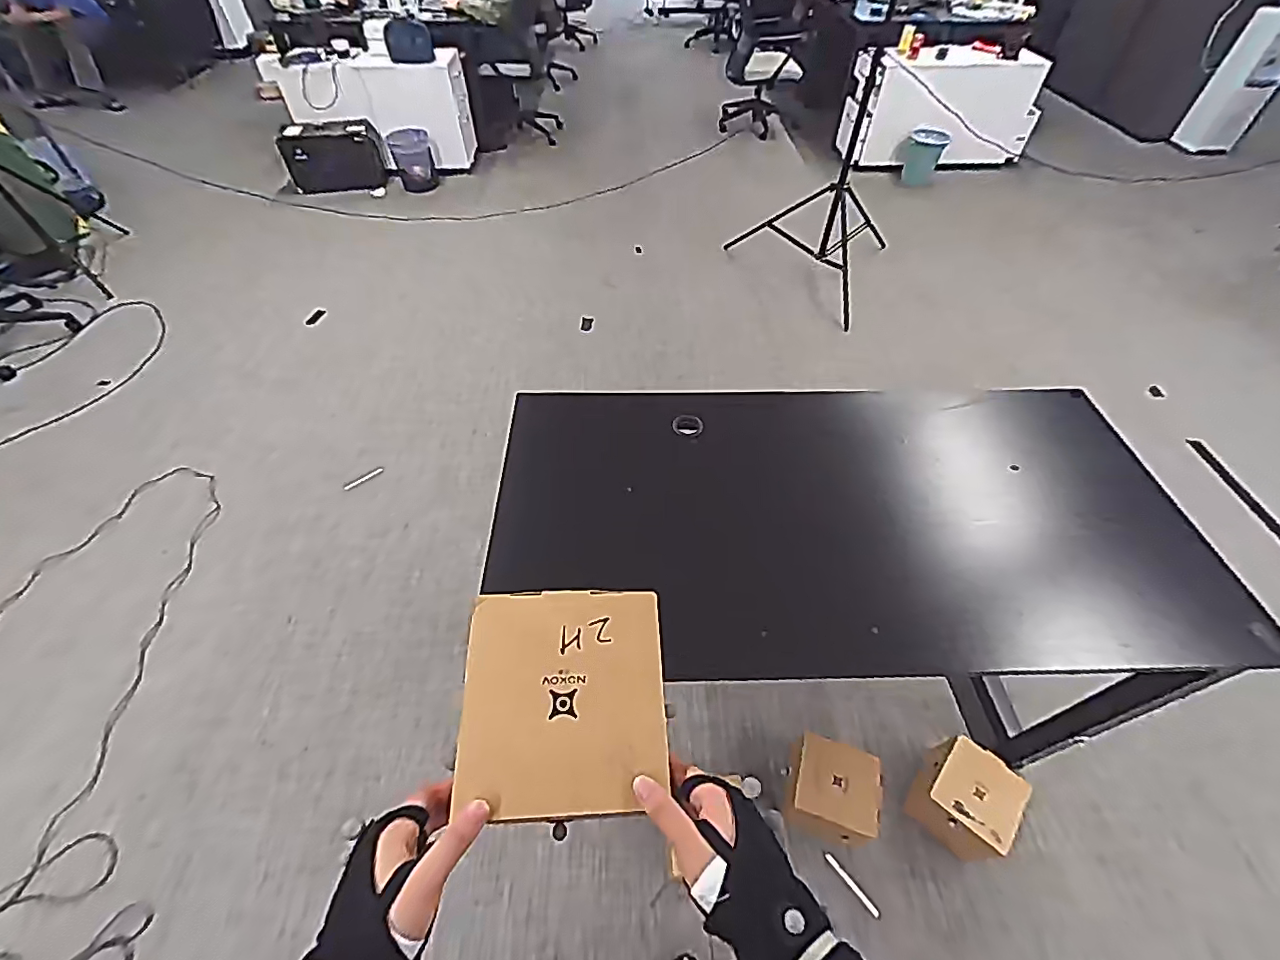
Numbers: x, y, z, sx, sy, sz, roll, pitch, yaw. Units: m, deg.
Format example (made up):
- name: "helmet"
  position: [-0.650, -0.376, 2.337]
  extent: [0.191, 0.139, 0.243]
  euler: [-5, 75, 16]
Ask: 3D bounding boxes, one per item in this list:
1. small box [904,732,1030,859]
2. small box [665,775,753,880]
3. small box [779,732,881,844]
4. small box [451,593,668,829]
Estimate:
- name: "small box"
  position: [0.738, 0.723, 1.236]
  extent: [0.168, 0.176, 0.179]
  euler: [34, 58, 25]
- name: "small box"
  position: [0.143, 0.770, 1.196]
  extent: [0.168, 0.176, 0.179]
  euler: [-2, 52, -2]
- name: "small box"
  position: [0.435, 0.713, 1.246]
  extent: [0.179, 0.176, 0.168]
  euler: [14, 51, 13]
- name: "small box"
  position: [-0.068, 0.221, 0.512]
  extent: [0.168, 0.176, 0.179]
  euler: [-1, 57, -6]
